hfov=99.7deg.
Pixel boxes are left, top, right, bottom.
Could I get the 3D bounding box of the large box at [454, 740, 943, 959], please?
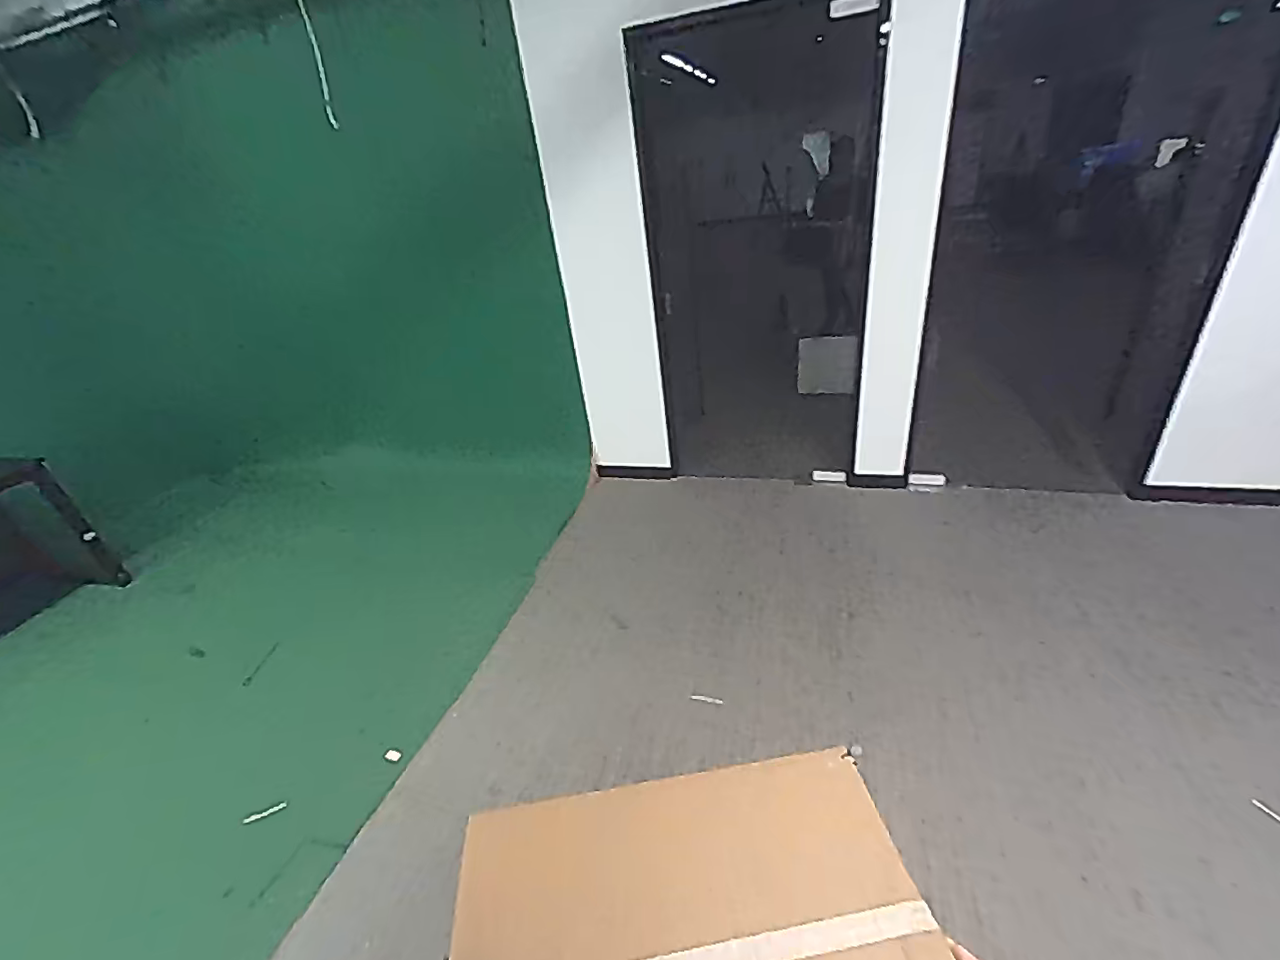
[{"bbox_3d":[0.050,0.518,0.525,0.408,0.320,0.320,-7,31,-5],"label":"large box"}]
